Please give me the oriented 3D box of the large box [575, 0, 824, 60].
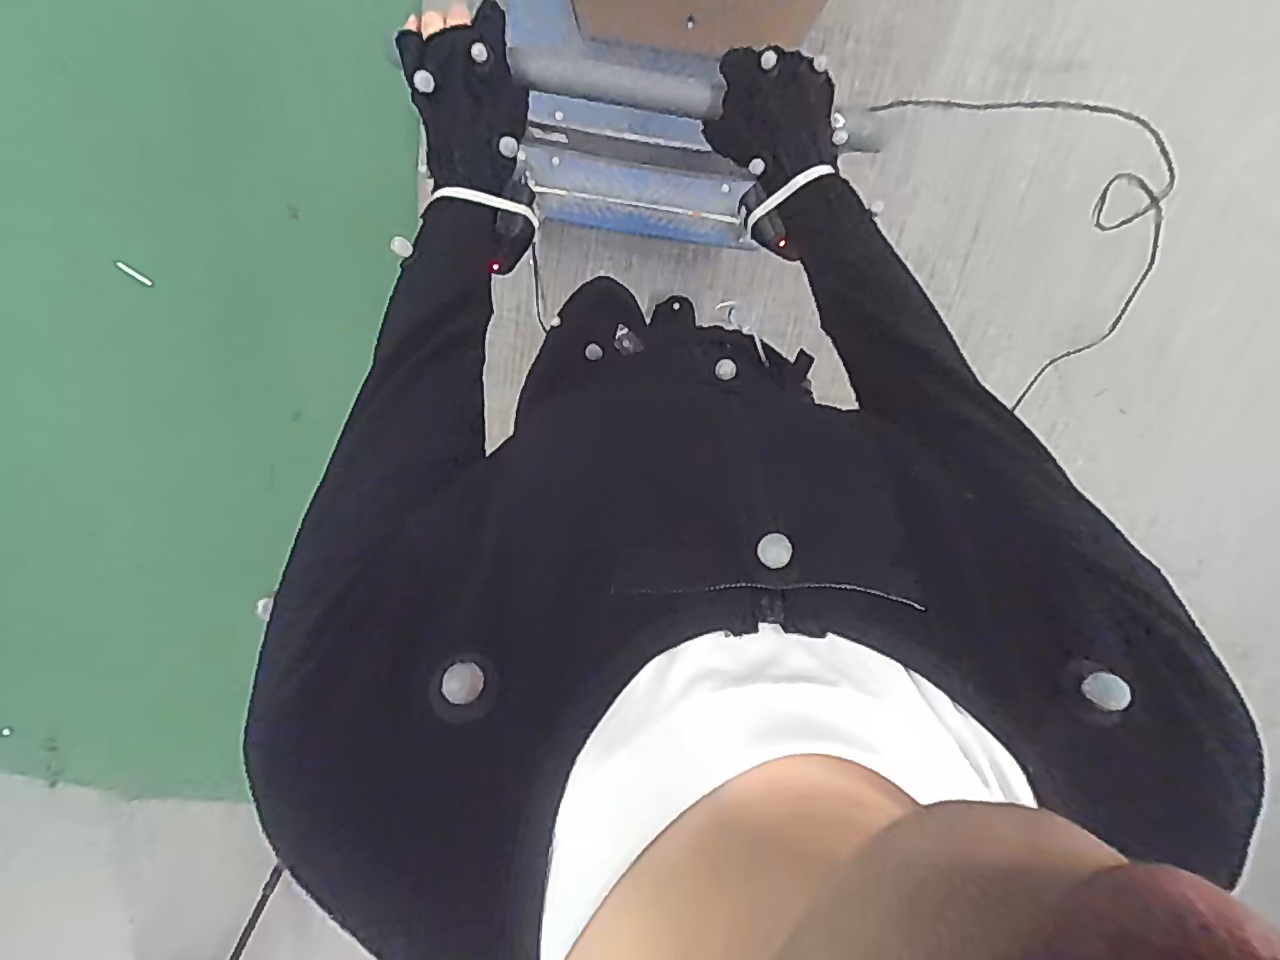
[{"bbox_3d":[0.103,-0.925,0.859,0.408,0.320,0.320,7,109,-1],"label":"large box"}]
